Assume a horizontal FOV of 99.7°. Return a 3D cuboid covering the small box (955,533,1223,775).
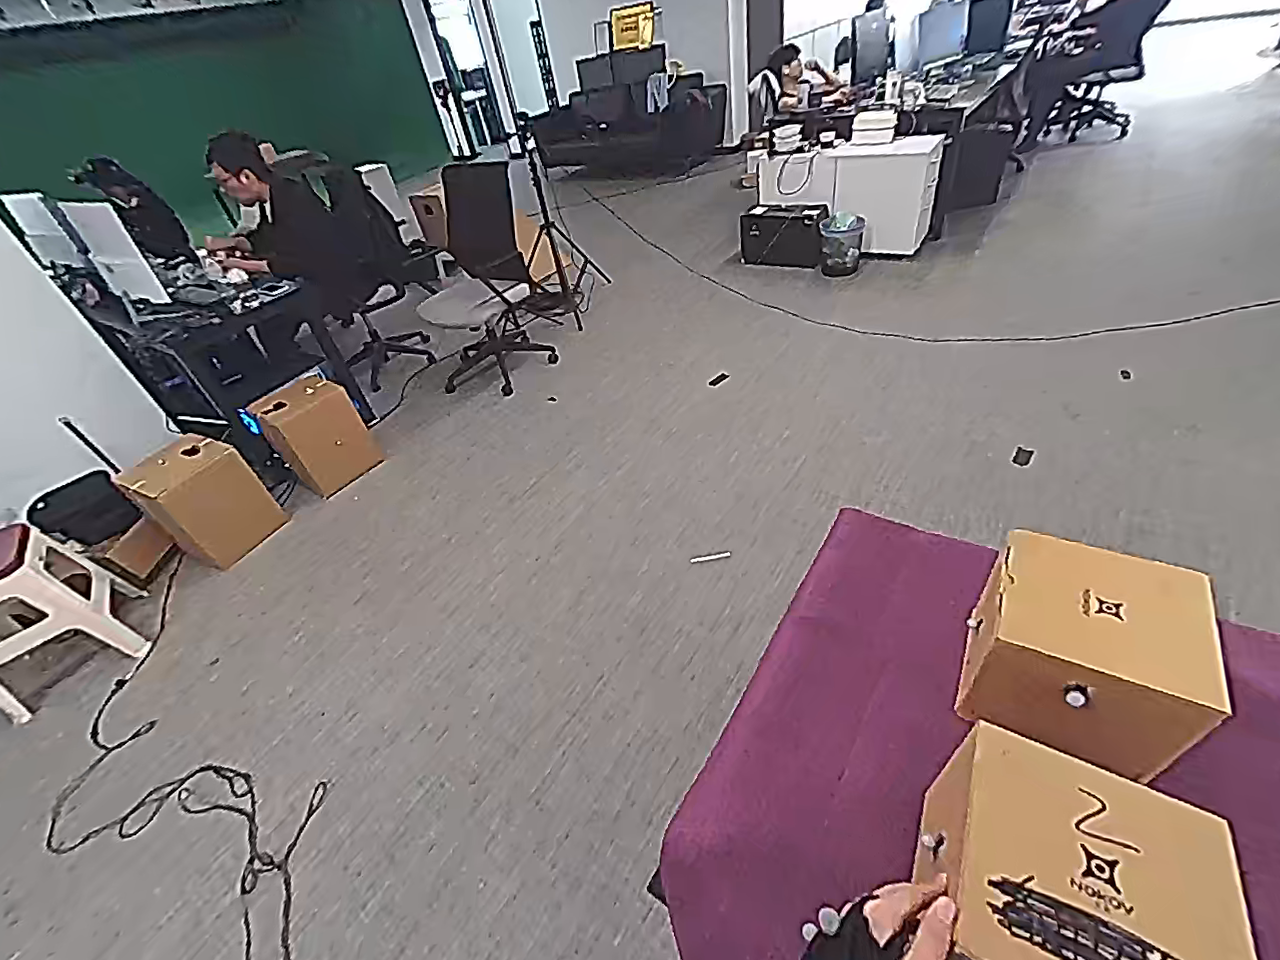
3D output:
[{"bbox_3d":[0.477,0.193,0.600,0.179,0.176,0.168,16,47,28],"label":"small box"}]
